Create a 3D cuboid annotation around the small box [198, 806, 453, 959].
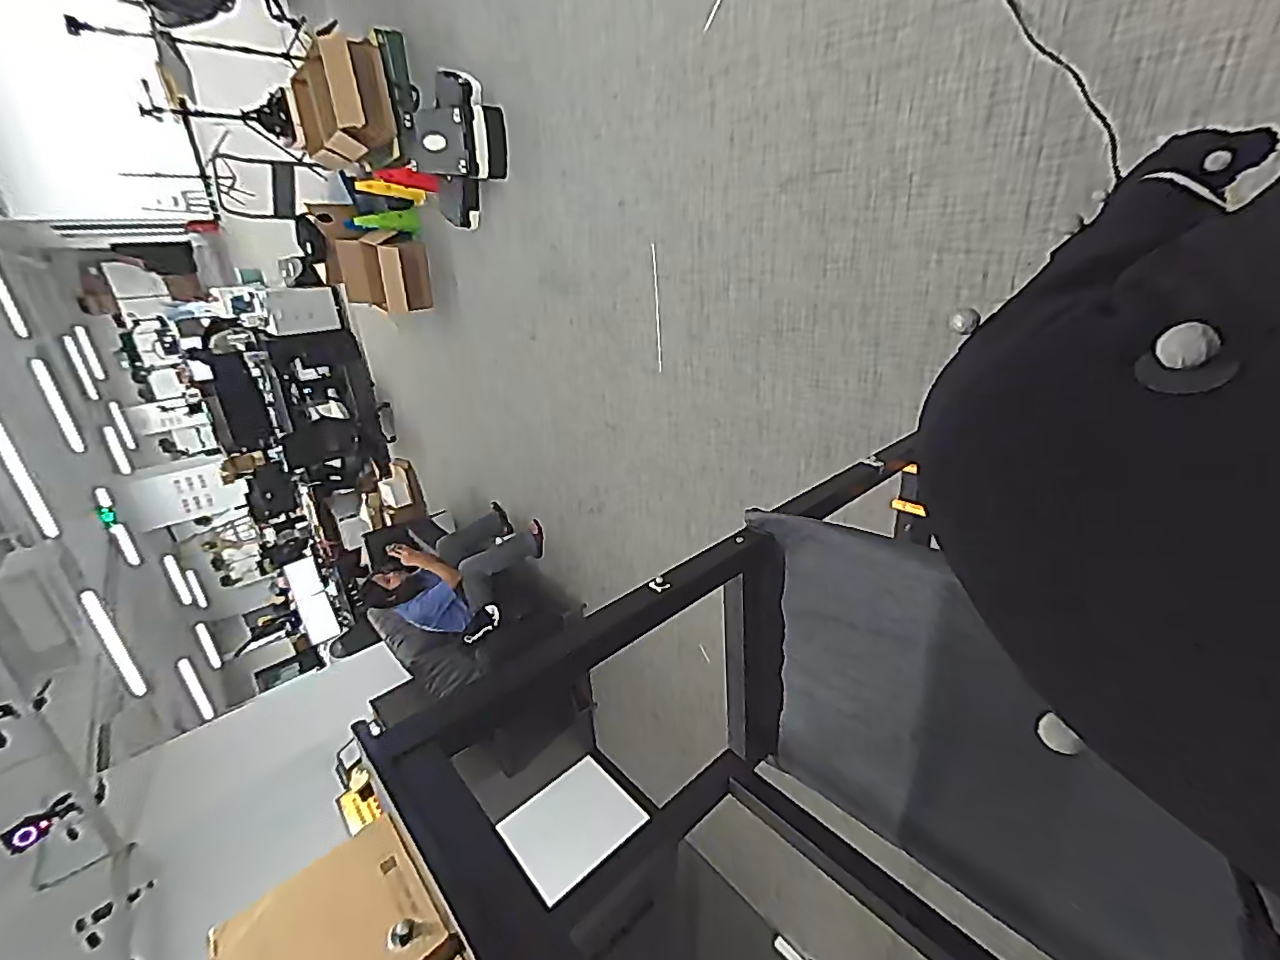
[{"bbox_3d":[-0.290,0.475,0.531,0.168,0.176,0.179,23,126,43],"label":"small box"}]
